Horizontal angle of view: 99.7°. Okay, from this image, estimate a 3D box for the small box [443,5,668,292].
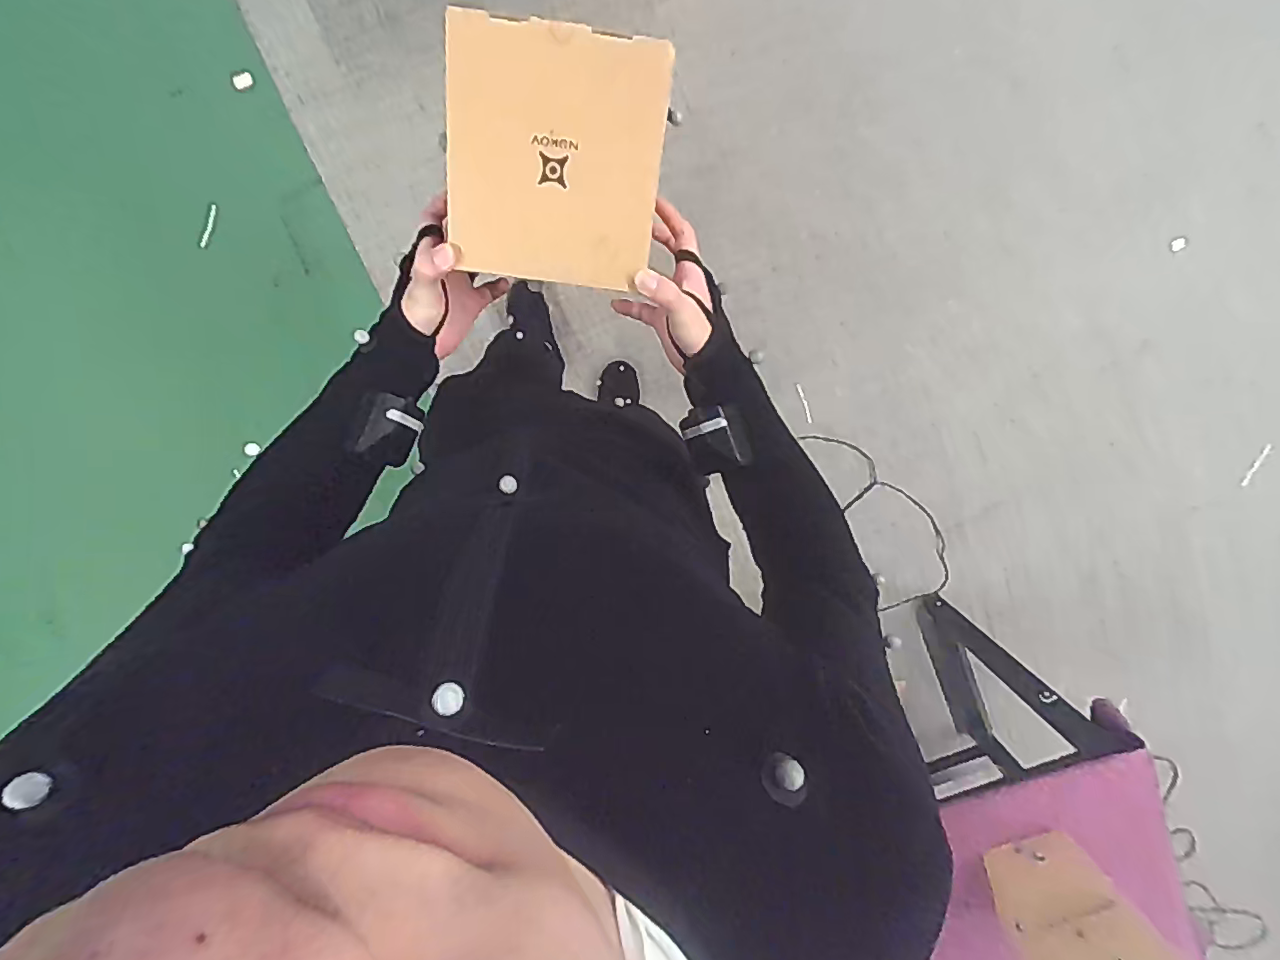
[{"bbox_3d":[-0.069,-0.279,0.493,0.168,0.176,0.179,7,112,-3],"label":"small box"}]
